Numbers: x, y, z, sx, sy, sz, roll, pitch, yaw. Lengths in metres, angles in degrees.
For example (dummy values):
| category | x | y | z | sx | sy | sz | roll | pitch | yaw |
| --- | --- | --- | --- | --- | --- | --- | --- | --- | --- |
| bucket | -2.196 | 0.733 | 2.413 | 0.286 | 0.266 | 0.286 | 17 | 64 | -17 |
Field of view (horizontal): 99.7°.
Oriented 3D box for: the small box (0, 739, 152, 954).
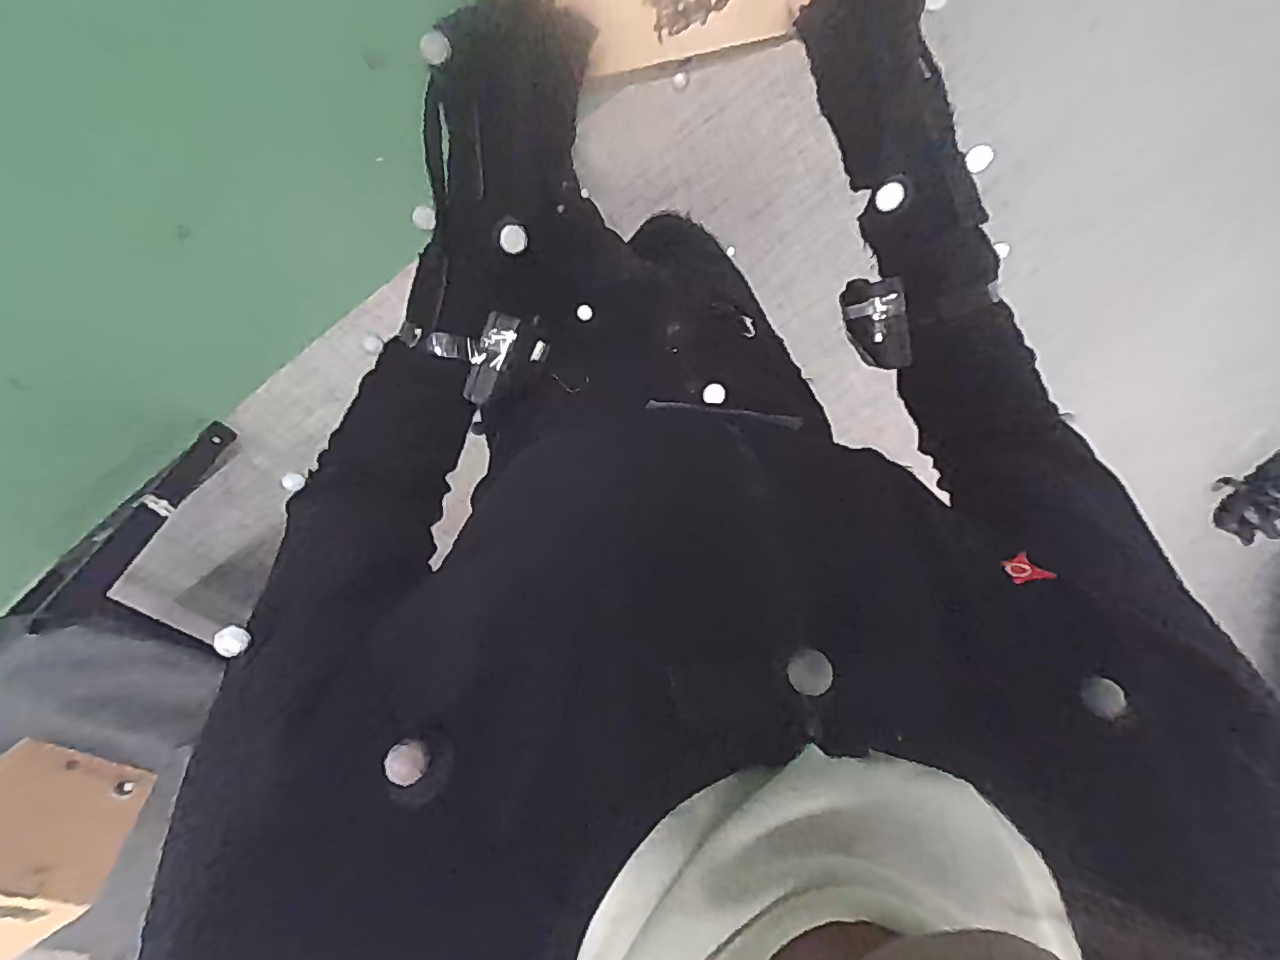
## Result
| category | x | y | z | sx | sy | sz | roll | pitch | yaw |
| --- | --- | --- | --- | --- | --- | --- | --- | --- | --- |
| small box | -0.797 | 0.471 | 0.703 | 0.179 | 0.176 | 0.168 | -33 | 125 | 10 |

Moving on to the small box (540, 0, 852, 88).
| category | x | y | z | sx | sy | sz | roll | pitch | yaw |
| --- | --- | --- | --- | --- | --- | --- | --- | --- | --- |
| small box | 0.014 | -0.367 | 0.329 | 0.168 | 0.176 | 0.179 | -16 | 123 | -5 |
